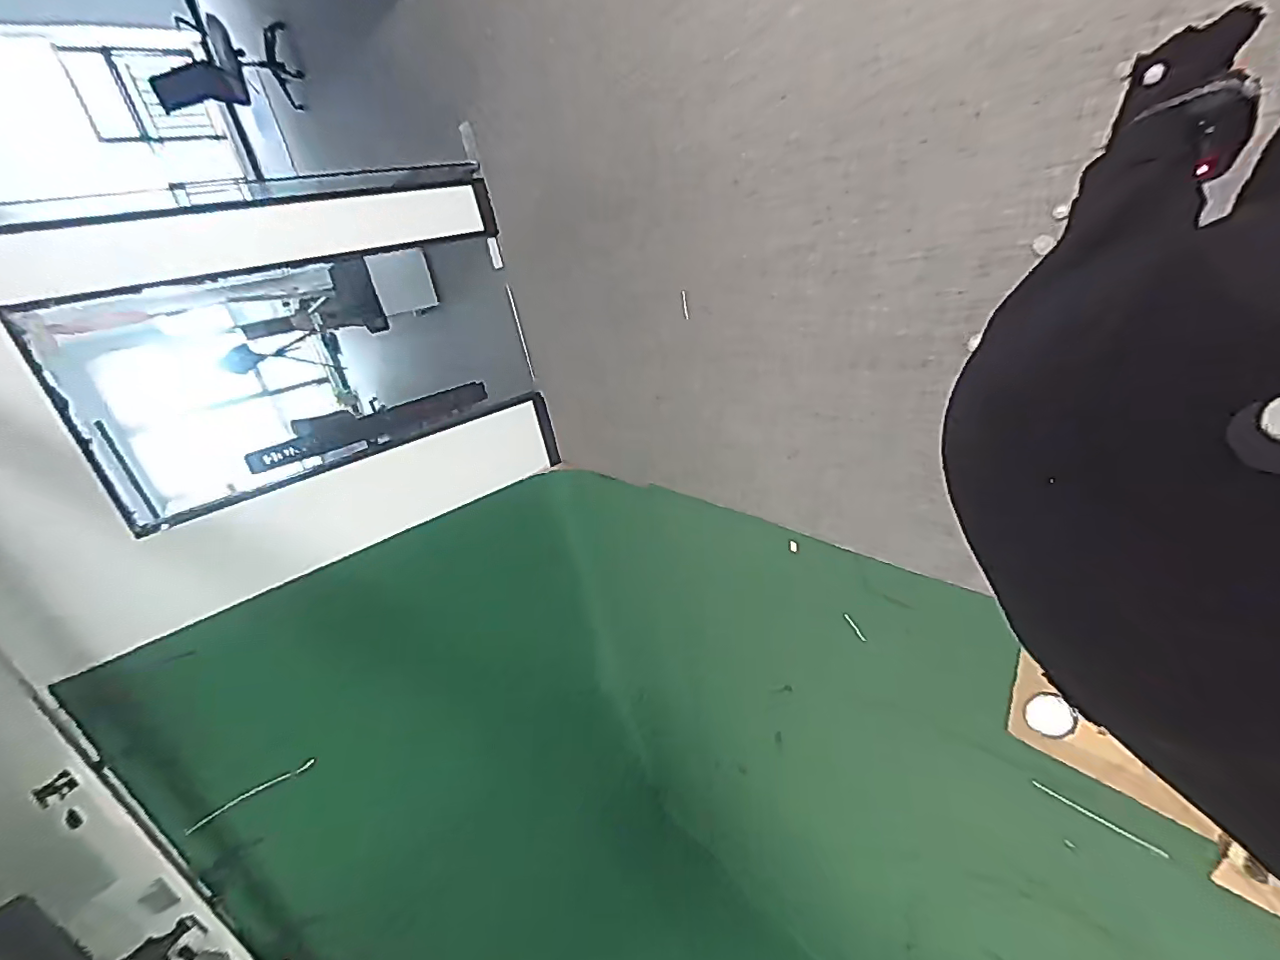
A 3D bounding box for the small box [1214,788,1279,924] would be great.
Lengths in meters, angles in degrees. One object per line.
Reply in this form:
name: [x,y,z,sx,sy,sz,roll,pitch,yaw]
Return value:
small box: [1.247,0.726,1.022,0.179,0.176,0.168,21,129,45]
